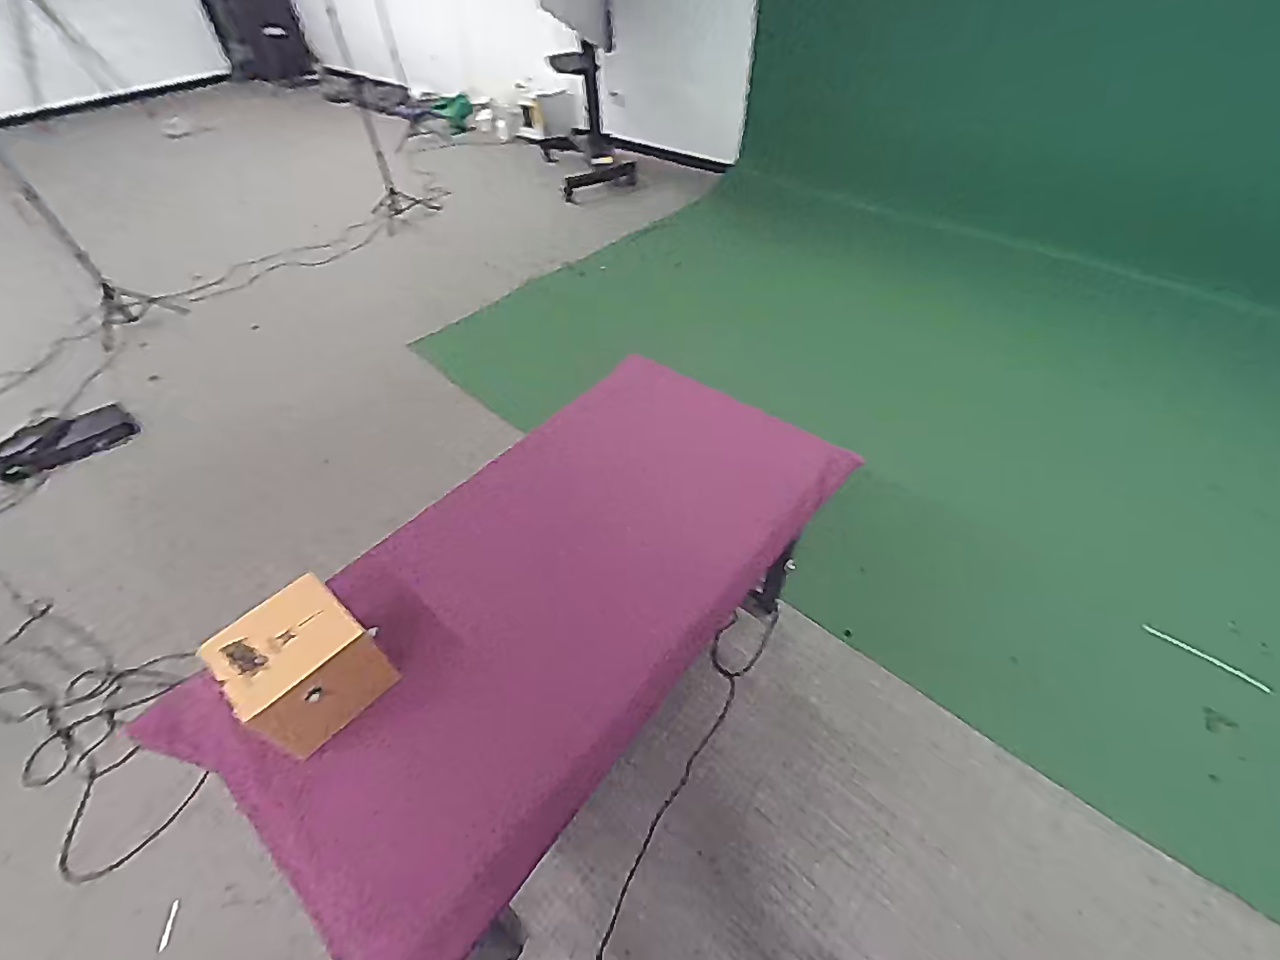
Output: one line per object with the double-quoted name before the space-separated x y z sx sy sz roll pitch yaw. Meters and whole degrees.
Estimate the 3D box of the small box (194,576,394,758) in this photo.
"small box" -0.522 0.292 0.839 0.168 0.176 0.179 32 55 26
